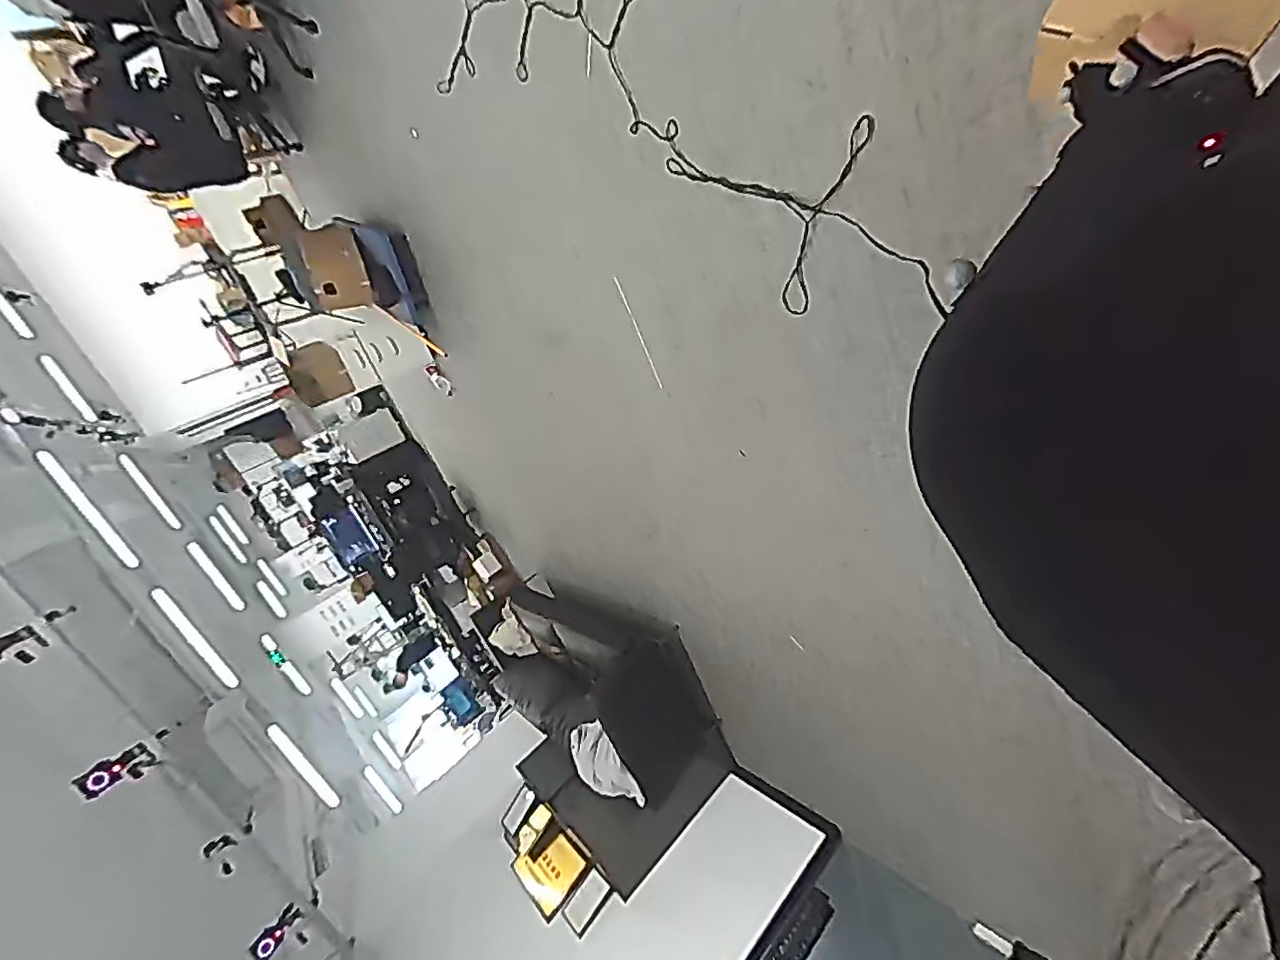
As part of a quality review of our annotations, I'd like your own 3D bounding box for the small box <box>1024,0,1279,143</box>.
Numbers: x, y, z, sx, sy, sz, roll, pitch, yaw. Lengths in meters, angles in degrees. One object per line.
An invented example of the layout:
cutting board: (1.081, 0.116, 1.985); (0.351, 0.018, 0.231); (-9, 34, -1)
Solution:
small box: (0.512, -0.464, 0.520); (0.168, 0.179, 0.176); (35, 118, 21)
